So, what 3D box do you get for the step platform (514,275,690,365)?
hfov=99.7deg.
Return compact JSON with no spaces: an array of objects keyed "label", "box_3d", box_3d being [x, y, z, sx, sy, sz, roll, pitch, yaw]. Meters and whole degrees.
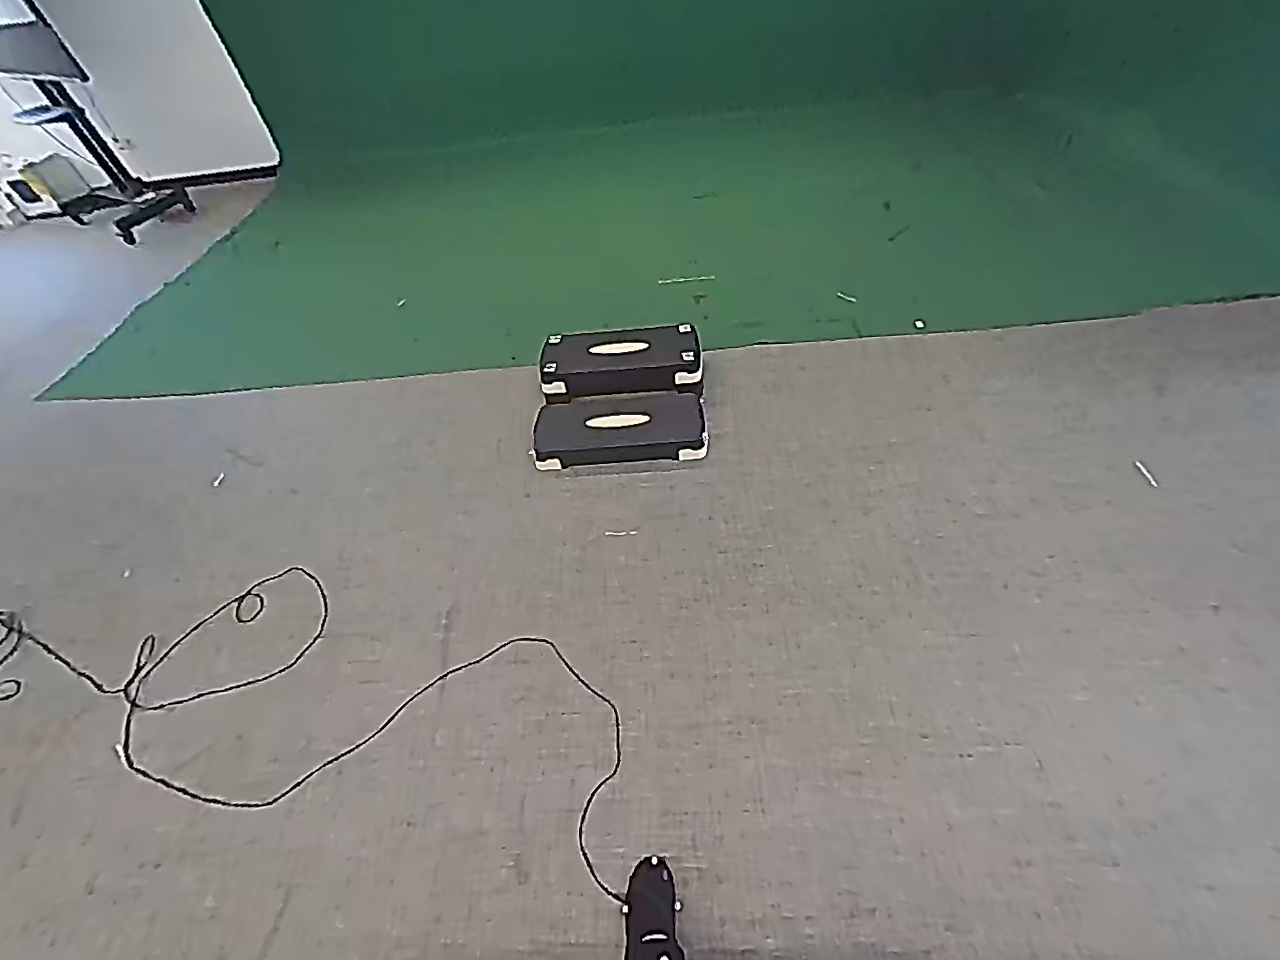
[{"label":"step platform","box_3d":[-0.143,-0.641,2.168,0.684,0.204,0.286,-4,49,5]}]
